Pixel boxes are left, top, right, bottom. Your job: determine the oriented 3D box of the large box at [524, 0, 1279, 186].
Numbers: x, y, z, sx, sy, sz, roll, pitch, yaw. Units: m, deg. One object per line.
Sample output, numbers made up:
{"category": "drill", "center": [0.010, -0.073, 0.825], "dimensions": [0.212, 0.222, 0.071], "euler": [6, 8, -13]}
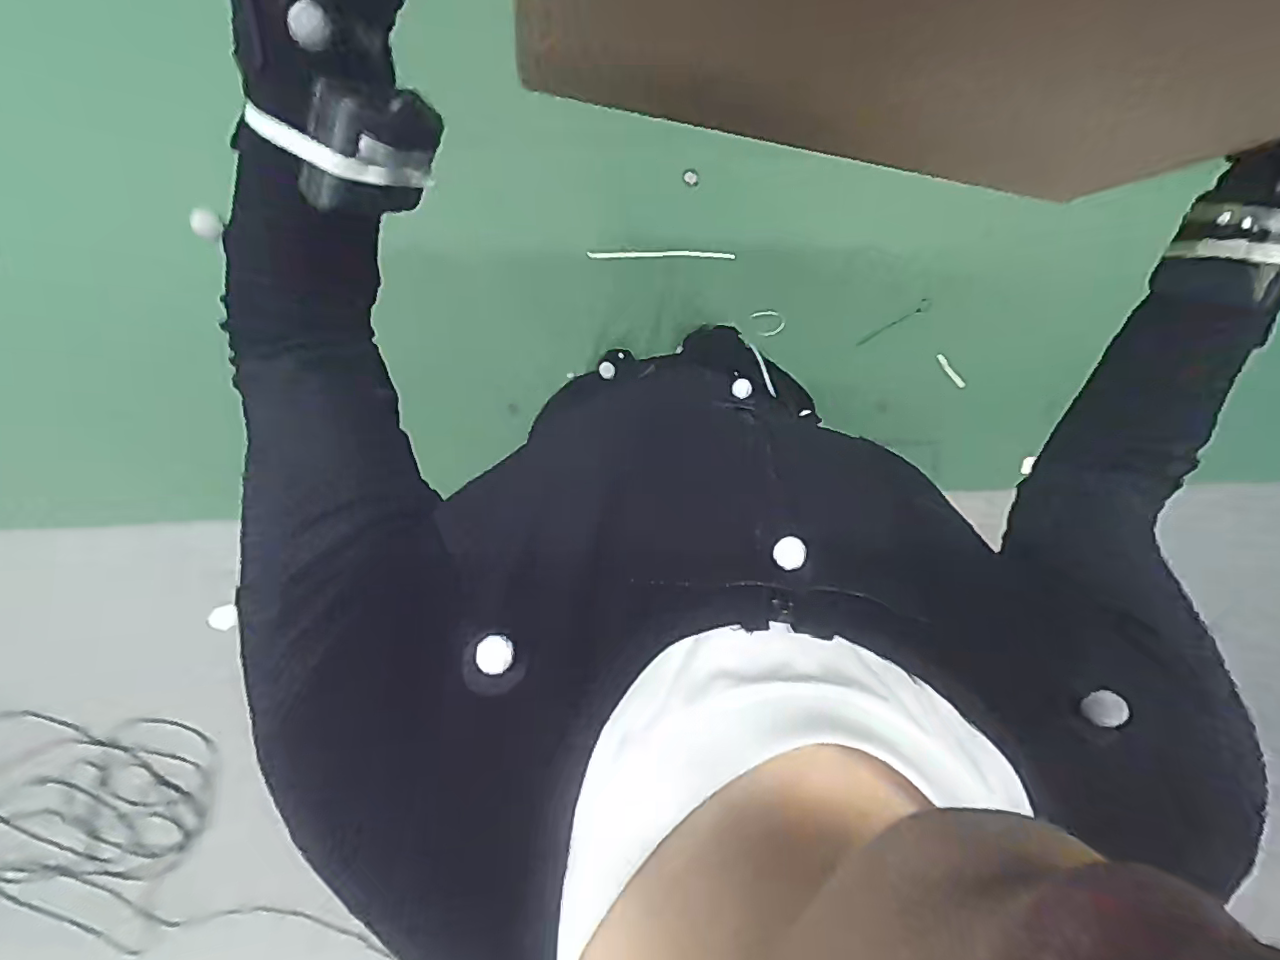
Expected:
{"category": "large box", "center": [0.168, -0.344, 0.193], "dimensions": [0.408, 0.320, 0.320], "euler": [3, 102, -14]}
